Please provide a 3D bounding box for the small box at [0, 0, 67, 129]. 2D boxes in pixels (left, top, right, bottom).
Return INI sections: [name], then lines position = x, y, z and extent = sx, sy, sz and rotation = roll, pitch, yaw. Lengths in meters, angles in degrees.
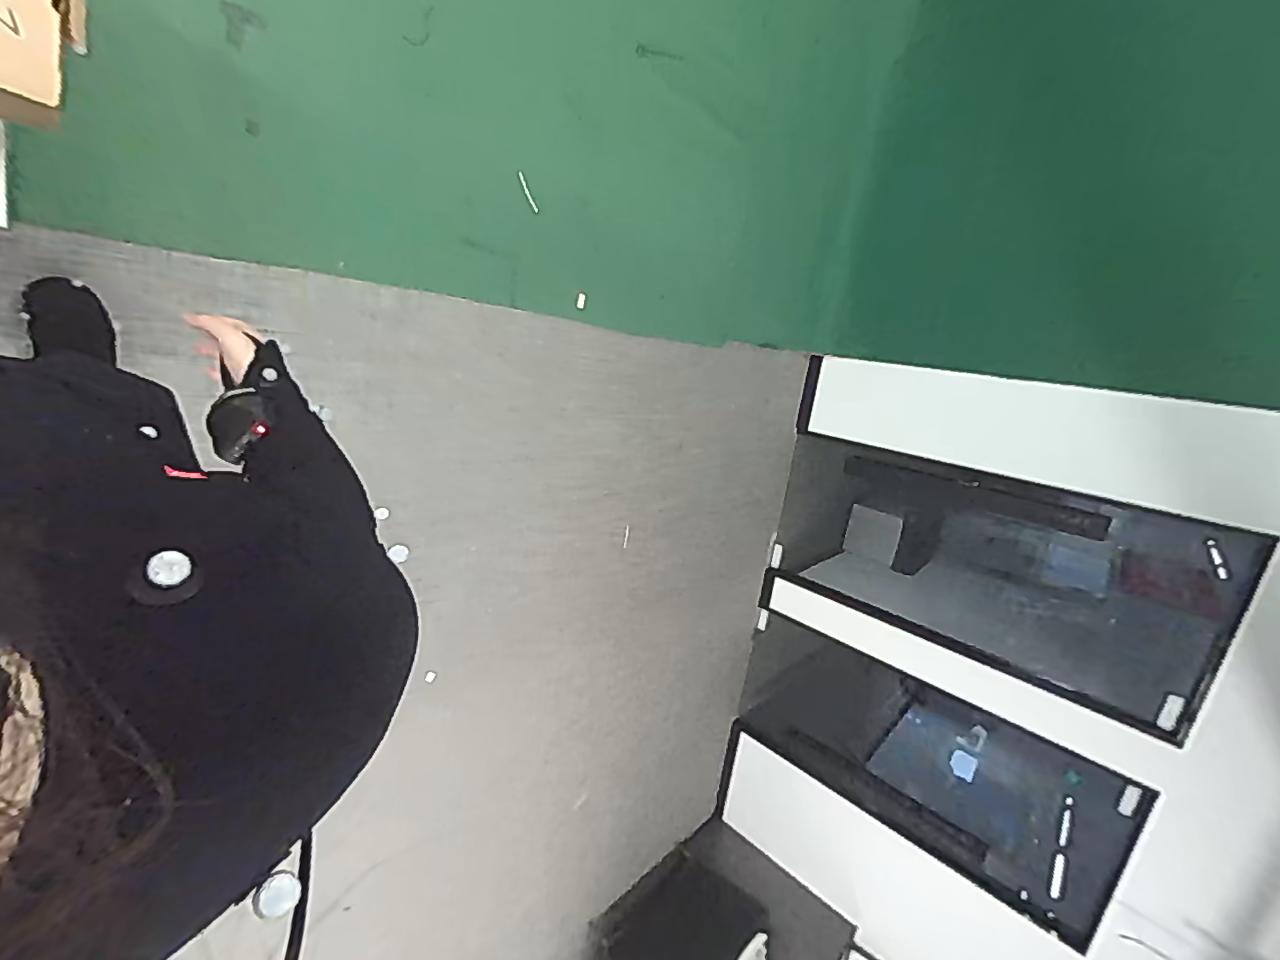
[small box]
position = -0.595, -0.416, 0.437
extent = 0.179, 0.176, 0.168
rotation = 3, 104, -49
